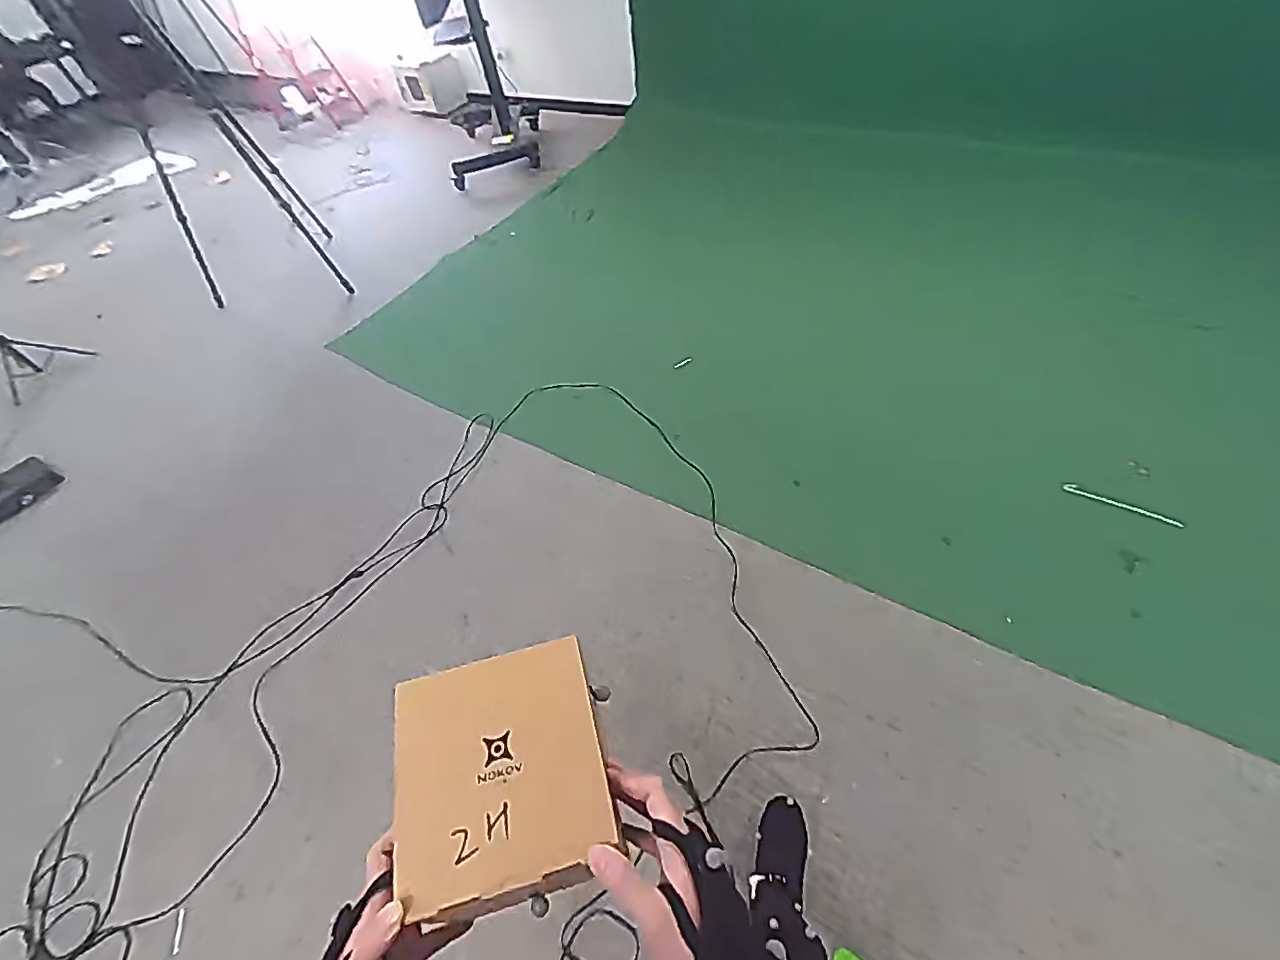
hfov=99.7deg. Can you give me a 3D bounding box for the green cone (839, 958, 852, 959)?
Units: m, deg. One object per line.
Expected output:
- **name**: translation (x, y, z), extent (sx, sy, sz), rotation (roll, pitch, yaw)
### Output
- **green cone**: translation (0.428, 0.987, 0.915), extent (0.202, 0.368, 0.200), rotation (23, 58, 26)
